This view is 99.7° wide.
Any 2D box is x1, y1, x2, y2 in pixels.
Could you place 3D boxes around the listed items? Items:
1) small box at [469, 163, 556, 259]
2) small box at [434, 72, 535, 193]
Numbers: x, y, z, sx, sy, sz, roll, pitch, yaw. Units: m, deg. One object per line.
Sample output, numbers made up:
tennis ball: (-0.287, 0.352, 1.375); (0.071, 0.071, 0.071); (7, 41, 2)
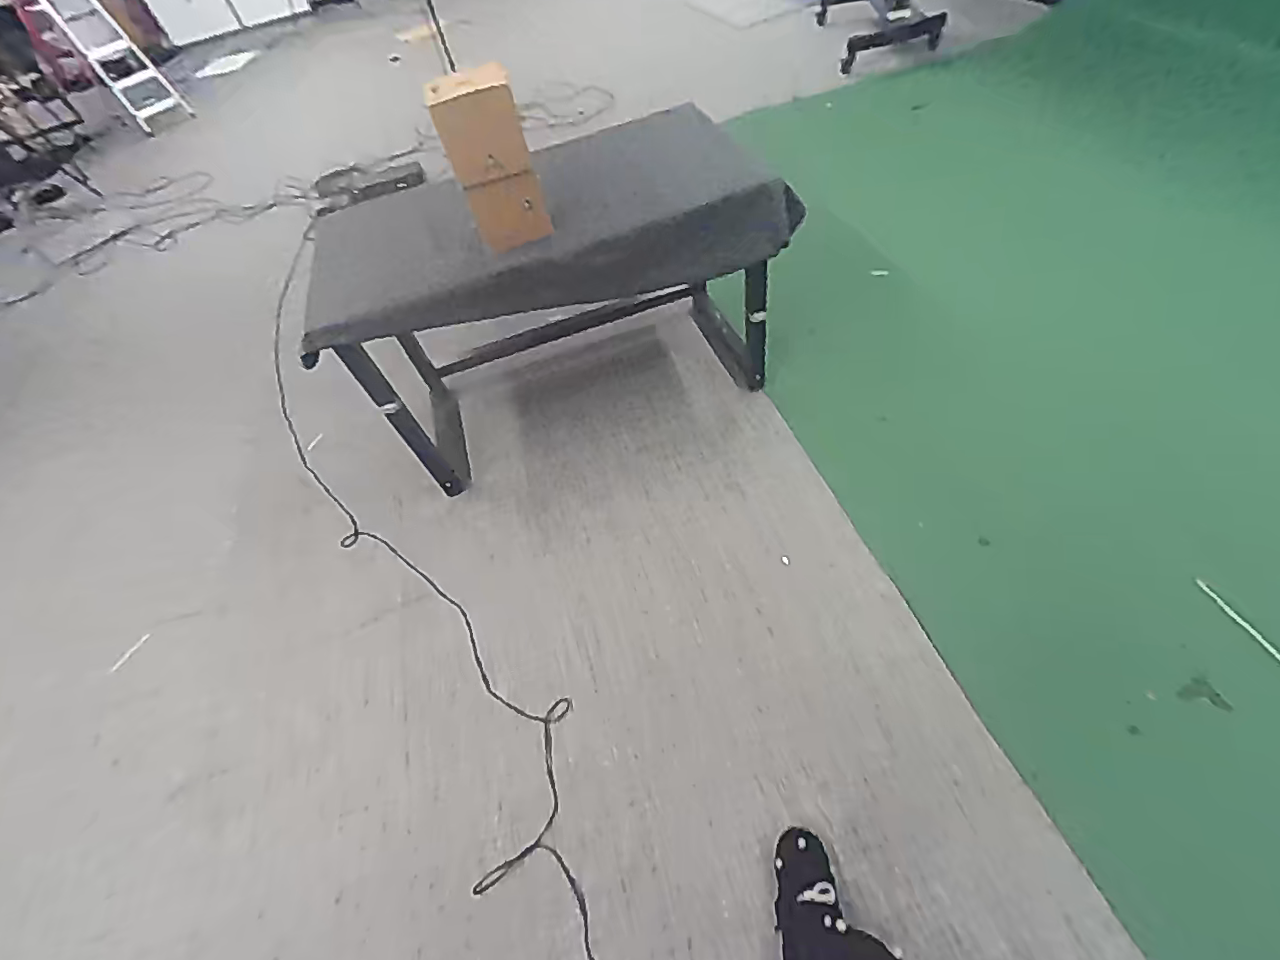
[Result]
small box: (-0.319, -0.686, 1.349); (0.179, 0.176, 0.168); (-21, 51, -3)
small box: (-0.343, -0.780, 1.216); (0.179, 0.176, 0.168); (-18, 51, -4)
